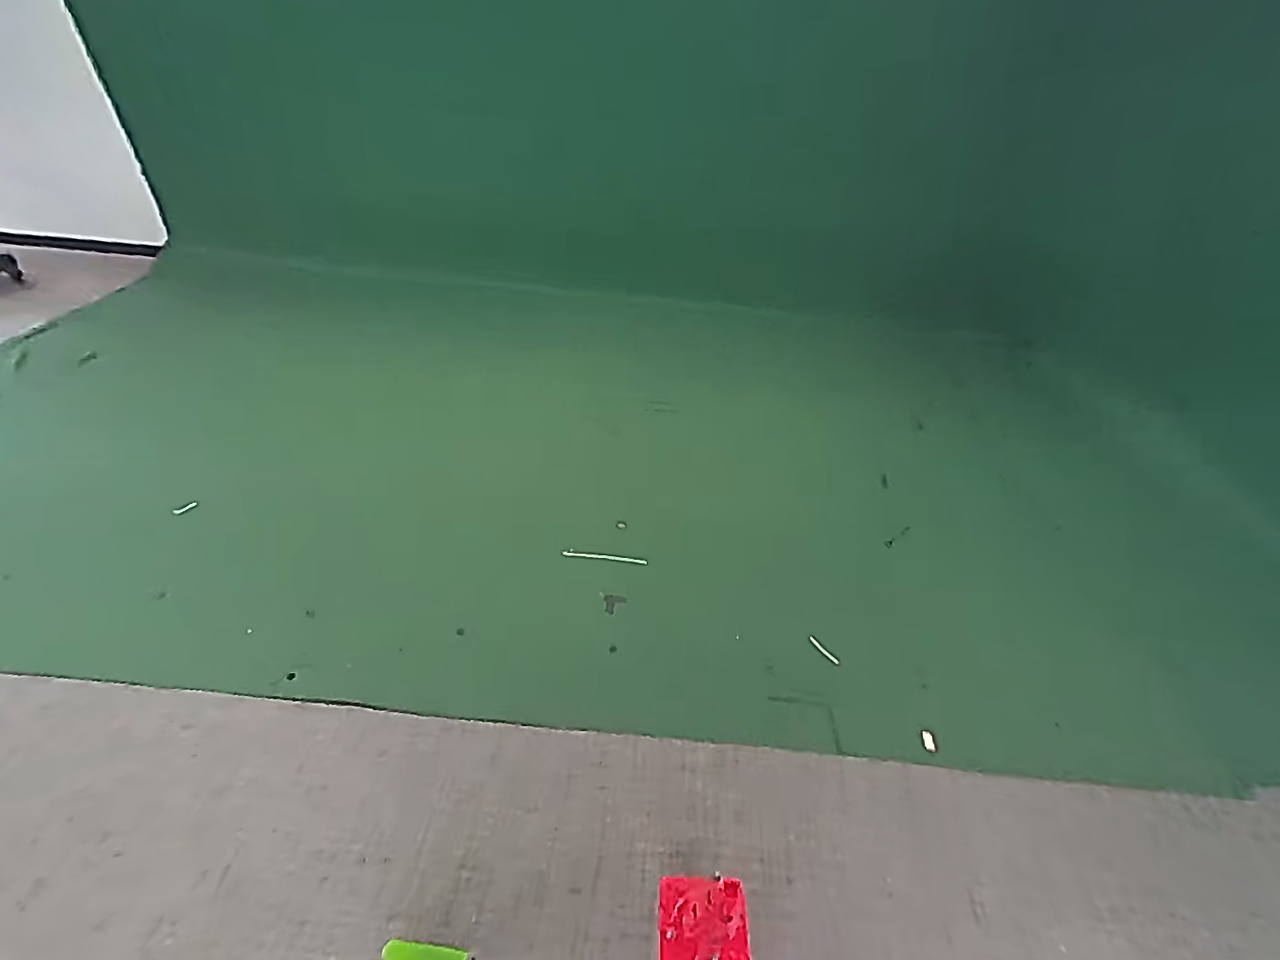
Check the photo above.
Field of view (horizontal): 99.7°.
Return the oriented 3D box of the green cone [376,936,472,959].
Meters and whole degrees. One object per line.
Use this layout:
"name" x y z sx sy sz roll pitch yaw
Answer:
"green cone" -0.446 0.919 0.963 0.200 0.368 0.202 7 41 2
